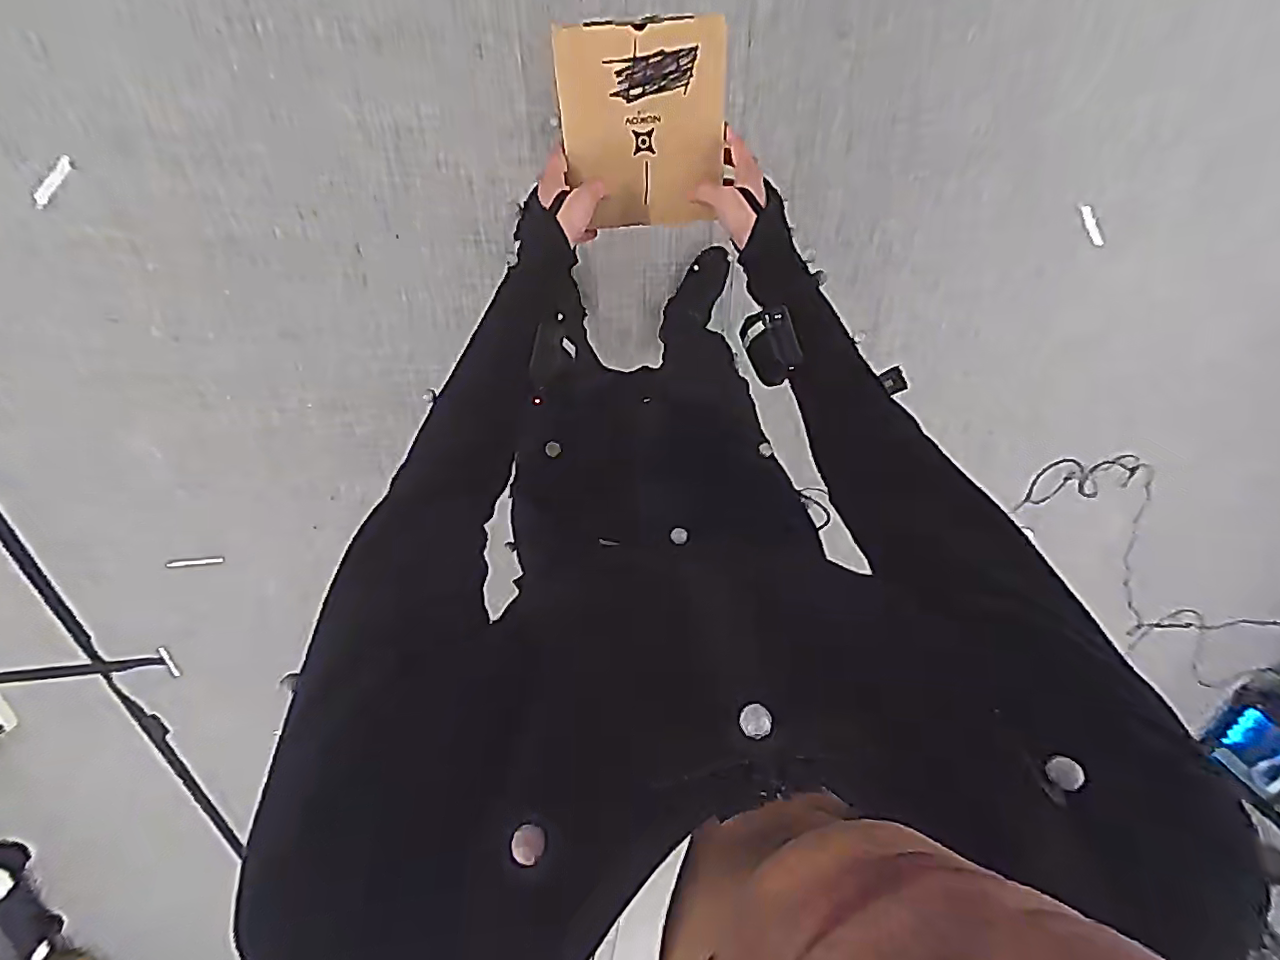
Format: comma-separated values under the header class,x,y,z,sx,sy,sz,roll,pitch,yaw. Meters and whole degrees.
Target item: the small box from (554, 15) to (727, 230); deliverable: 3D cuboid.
class,x,y,z,sx,sy,sz,roll,pitch,yaw
small box,-0.004,-0.396,0.607,0.168,0.176,0.179,-5,127,-2
